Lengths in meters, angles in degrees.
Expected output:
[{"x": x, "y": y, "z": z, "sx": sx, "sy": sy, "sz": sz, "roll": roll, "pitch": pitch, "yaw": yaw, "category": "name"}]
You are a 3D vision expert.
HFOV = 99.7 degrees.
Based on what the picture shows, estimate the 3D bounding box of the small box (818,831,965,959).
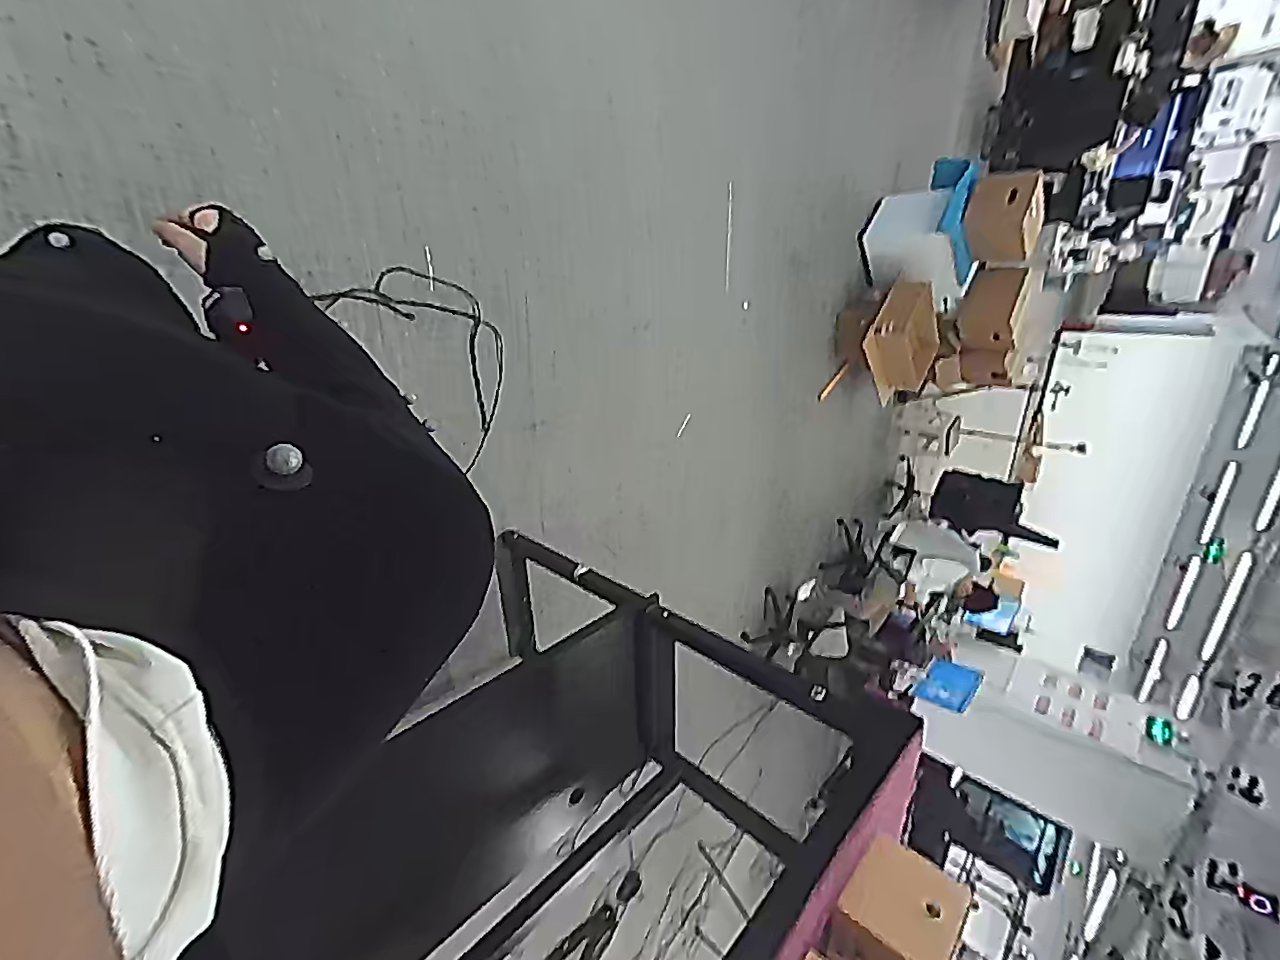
[{"x": 0.432, "y": 0.768, "z": 0.939, "sx": 0.179, "sy": 0.176, "sz": 0.168, "roll": -23, "pitch": 120, "yaw": -41, "category": "small box"}]
